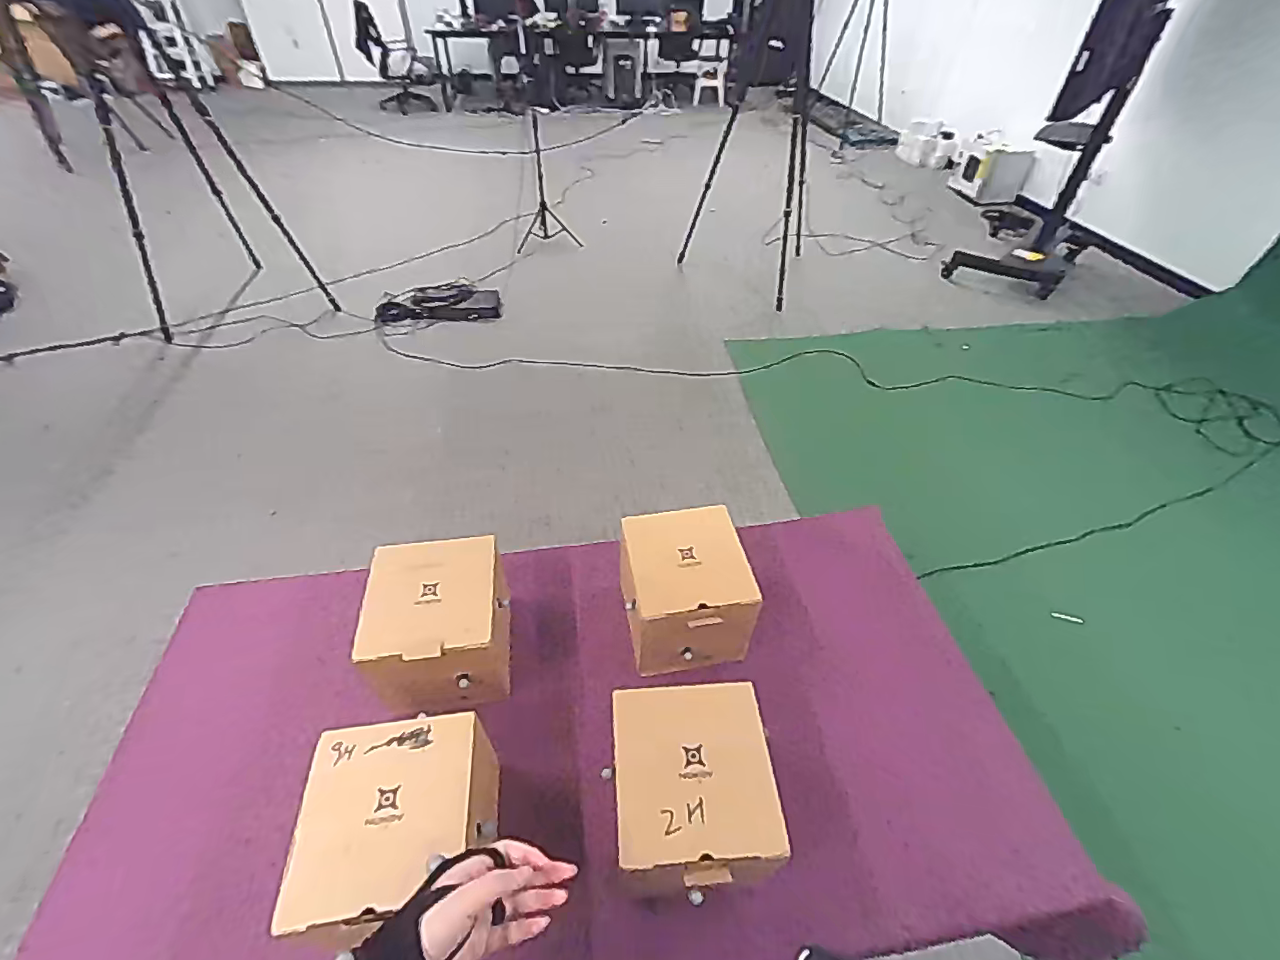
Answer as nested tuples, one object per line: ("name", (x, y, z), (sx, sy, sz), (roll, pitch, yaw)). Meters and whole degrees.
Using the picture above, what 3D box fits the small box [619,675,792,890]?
("small box", (0.060, 0.351, 0.630), (0.168, 0.176, 0.179), (-3, 46, -3))

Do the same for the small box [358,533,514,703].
("small box", (-0.274, 0.202, 0.774), (0.168, 0.176, 0.179), (-5, 46, -7))

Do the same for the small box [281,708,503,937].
("small box", (-0.249, 0.380, 0.597), (0.168, 0.176, 0.179), (-5, 46, -7))

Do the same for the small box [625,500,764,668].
("small box", (0.069, 0.157, 0.822), (0.168, 0.176, 0.179), (-8, 47, -8))
